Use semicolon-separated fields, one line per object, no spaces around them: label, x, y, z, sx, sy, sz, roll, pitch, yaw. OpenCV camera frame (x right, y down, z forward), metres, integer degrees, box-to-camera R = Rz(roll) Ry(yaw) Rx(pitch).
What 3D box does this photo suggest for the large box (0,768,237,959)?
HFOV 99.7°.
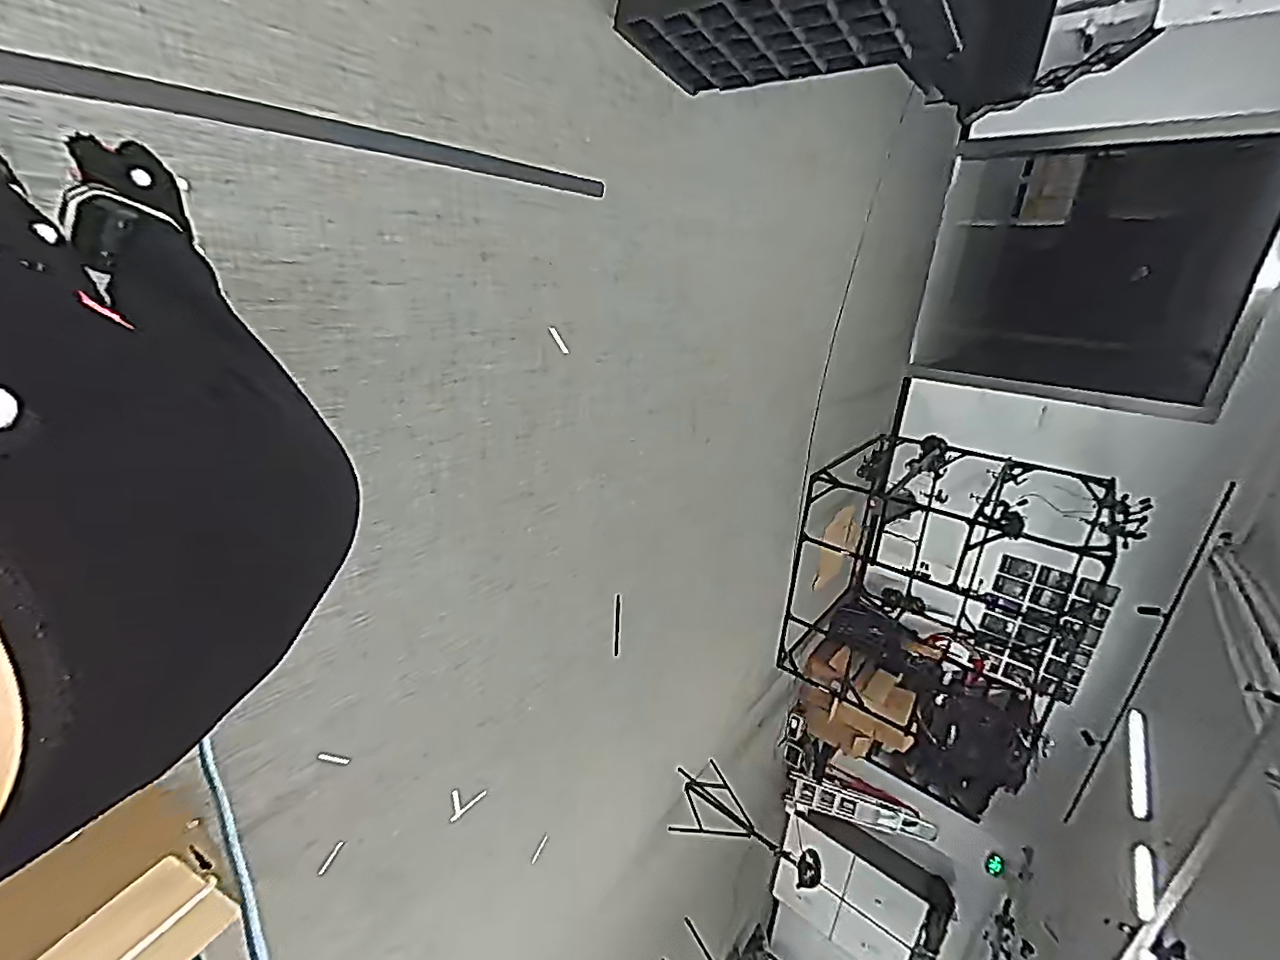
large box;-1.224;0.951;1.188;0.408;0.320;0.320;-38;134;-37
